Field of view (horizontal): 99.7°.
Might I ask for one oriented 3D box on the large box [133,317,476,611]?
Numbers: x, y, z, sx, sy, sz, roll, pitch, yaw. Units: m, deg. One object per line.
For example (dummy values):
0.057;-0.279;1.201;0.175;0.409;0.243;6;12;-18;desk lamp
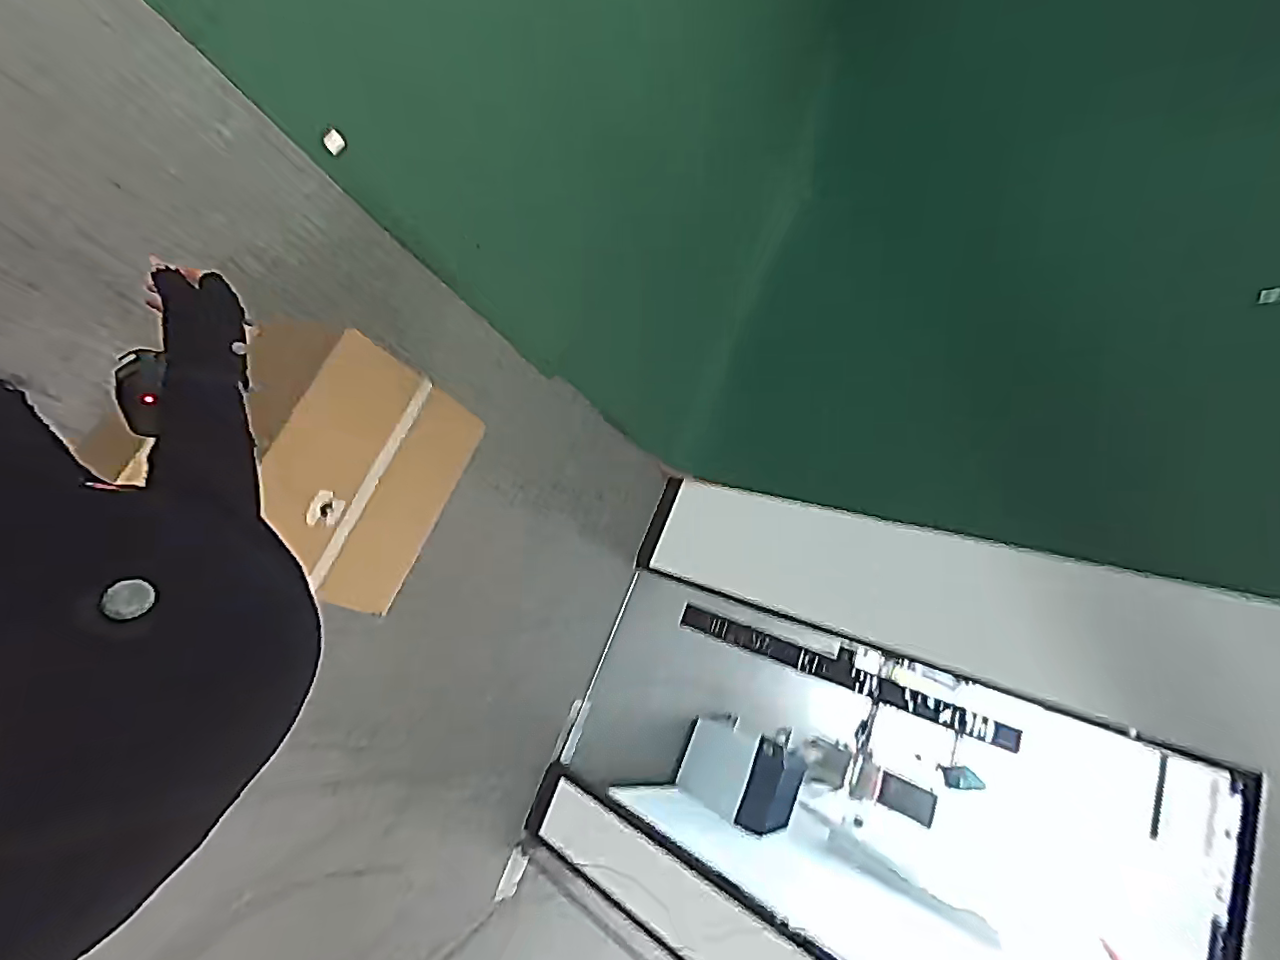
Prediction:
-0.585;-0.032;0.983;0.320;0.320;0.408;44;66;-53;large box
